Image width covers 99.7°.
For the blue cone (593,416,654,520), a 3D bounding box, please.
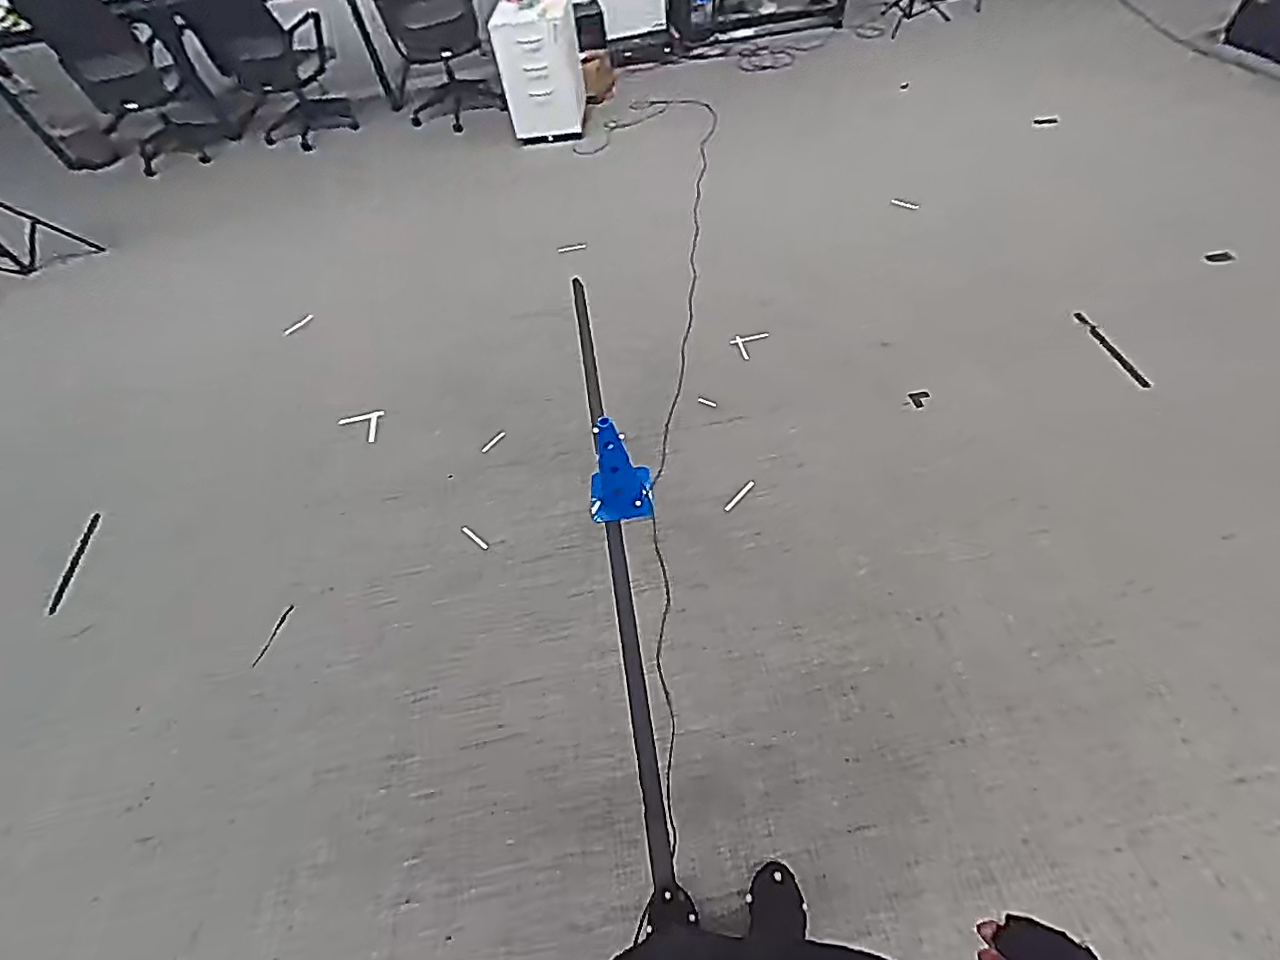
[{"bbox_3d":[-0.072,-0.058,1.625,0.193,0.380,0.192,-8,53,1],"label":"blue cone"}]
